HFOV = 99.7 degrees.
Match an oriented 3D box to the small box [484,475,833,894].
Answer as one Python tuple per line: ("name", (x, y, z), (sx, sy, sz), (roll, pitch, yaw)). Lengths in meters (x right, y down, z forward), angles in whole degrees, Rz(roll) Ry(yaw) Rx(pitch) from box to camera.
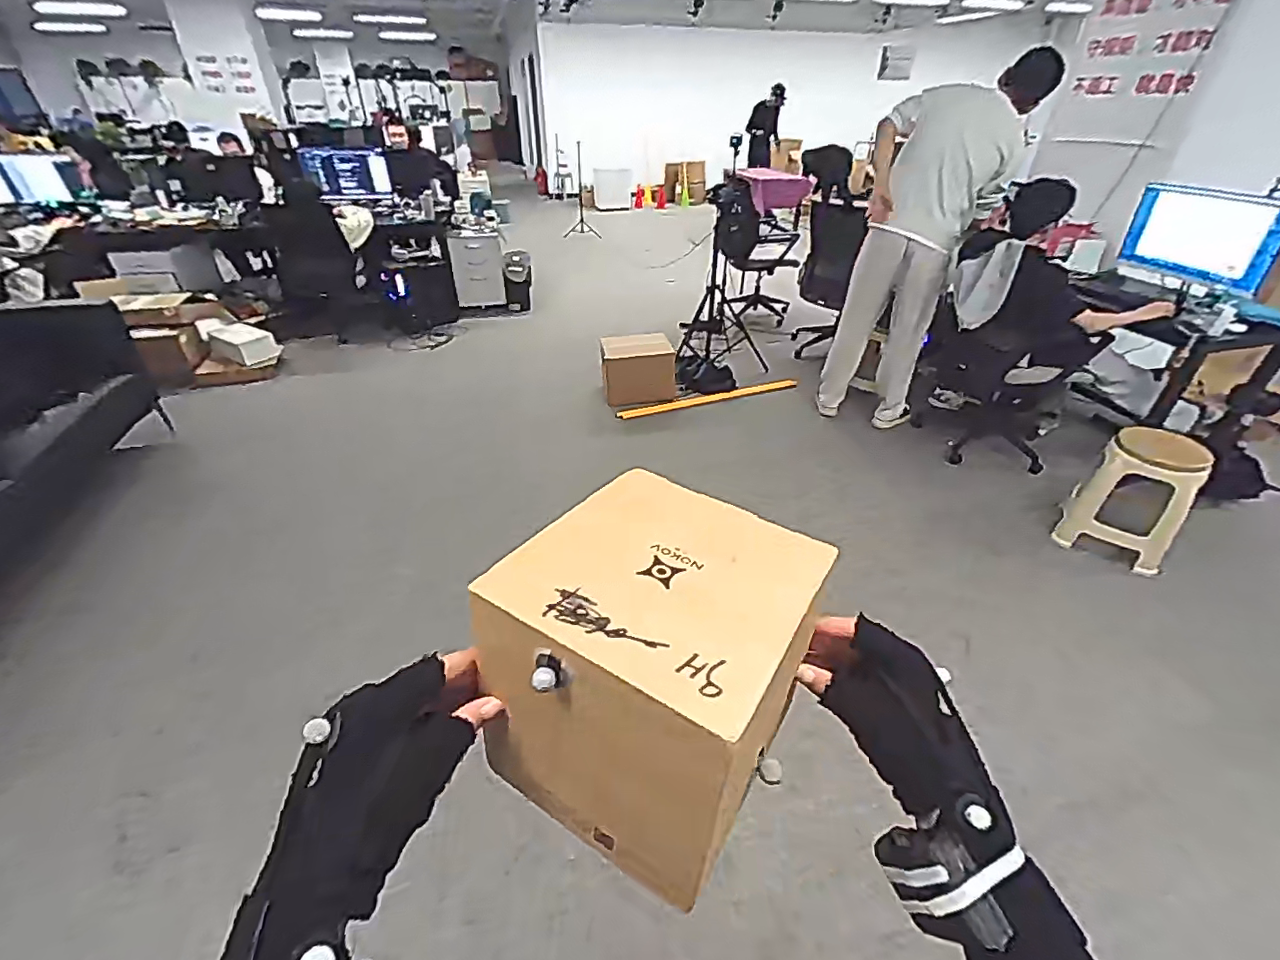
("small box", (0.012, 0.125, 0.380), (0.168, 0.176, 0.179), (21, 34, 26))
